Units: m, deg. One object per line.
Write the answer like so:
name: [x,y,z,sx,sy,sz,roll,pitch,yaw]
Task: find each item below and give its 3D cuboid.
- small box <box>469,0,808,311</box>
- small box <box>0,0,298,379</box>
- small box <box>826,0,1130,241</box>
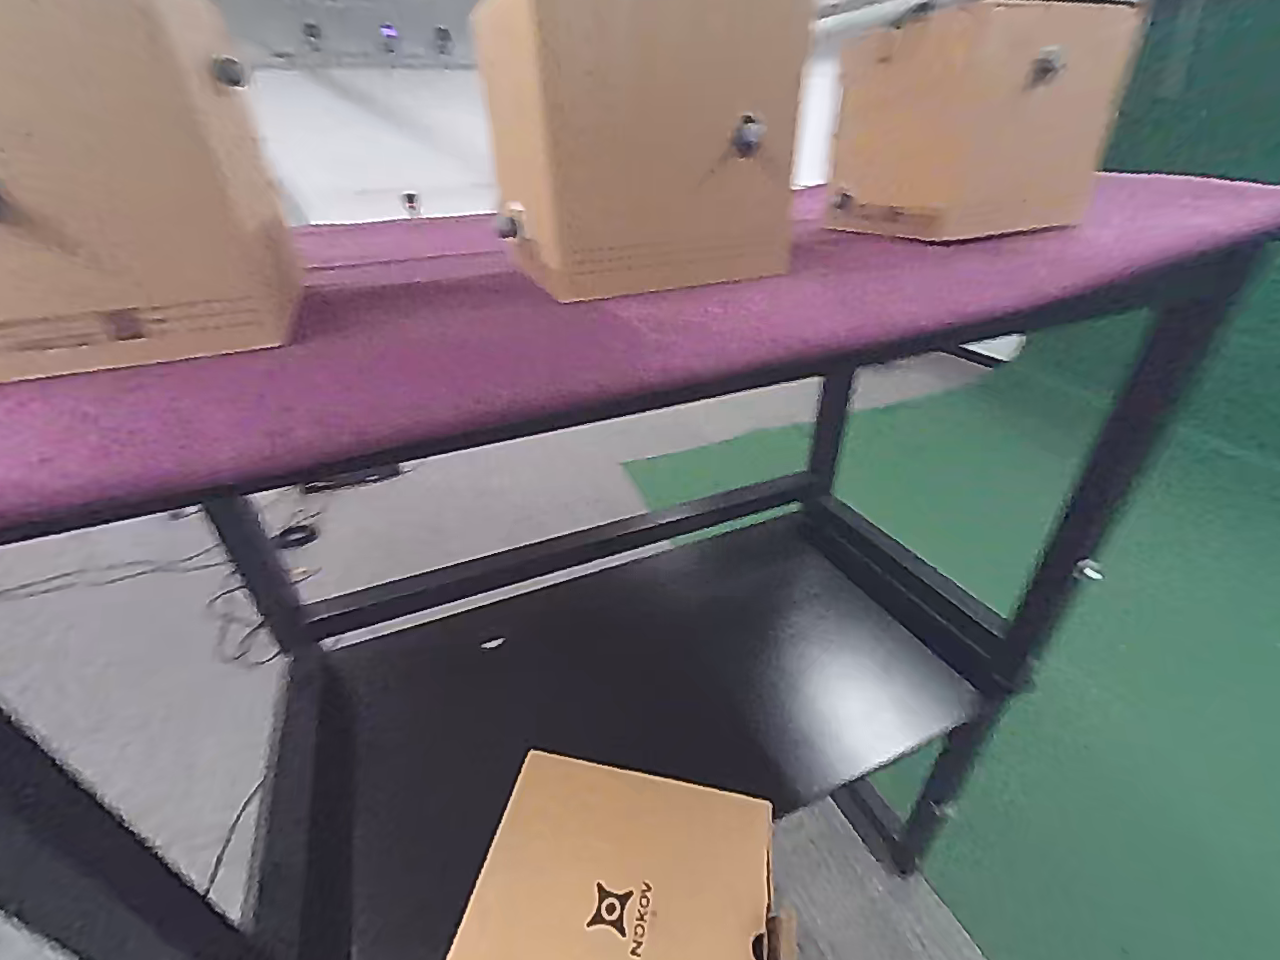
small box: [-0.009,-0.235,0.394,0.179,0.176,0.168,-16,35,-19]
small box: [-0.300,-0.158,0.281,0.168,0.176,0.179,-14,35,-20]
small box: [0.300,-0.333,0.523,0.179,0.176,0.168,-14,33,-18]
